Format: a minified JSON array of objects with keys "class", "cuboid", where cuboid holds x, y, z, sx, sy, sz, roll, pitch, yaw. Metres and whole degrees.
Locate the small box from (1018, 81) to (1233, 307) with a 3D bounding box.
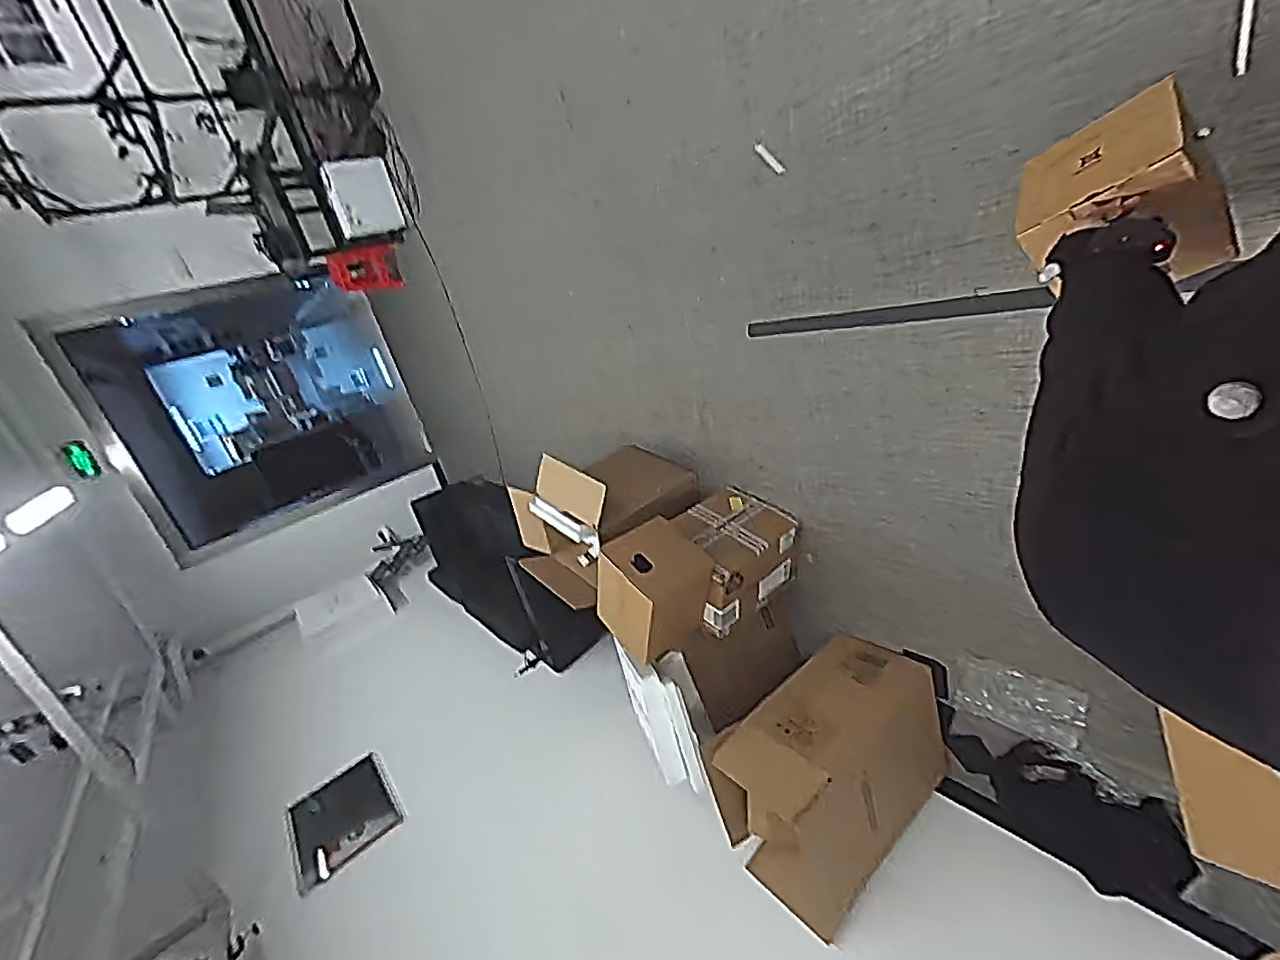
[{"class":"small box","cuboid":[0.631,-0.356,0.711,0.176,0.179,0.168,38,150,-22]}]
